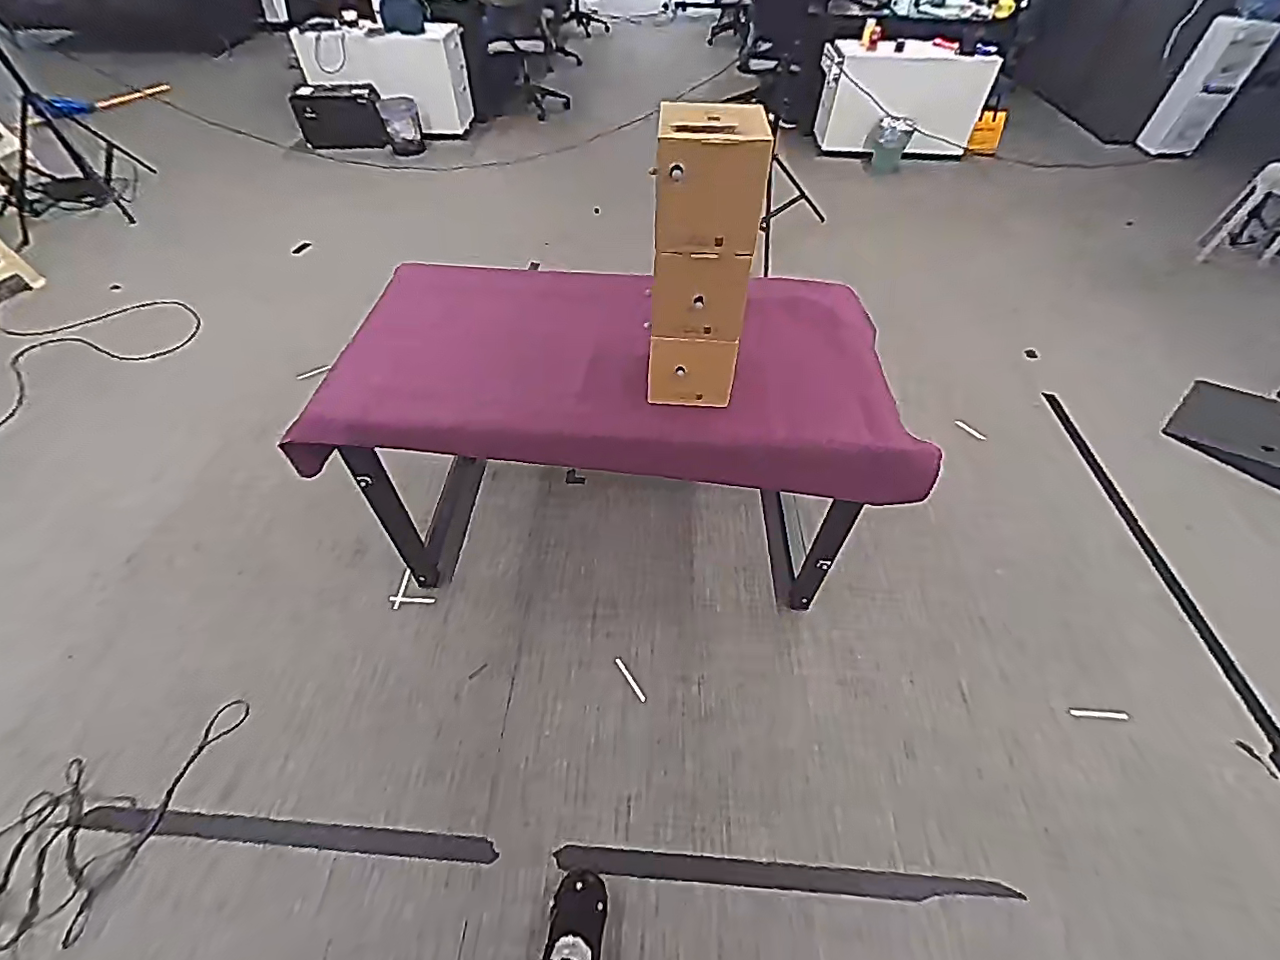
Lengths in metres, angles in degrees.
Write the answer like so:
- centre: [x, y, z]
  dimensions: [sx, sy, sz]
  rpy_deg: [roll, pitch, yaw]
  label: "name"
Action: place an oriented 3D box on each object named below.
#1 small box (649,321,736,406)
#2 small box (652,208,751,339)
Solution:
- centre: [0.105, -0.271, 1.126]
  dimensions: [0.168, 0.176, 0.179]
  rpy_deg: [3, 49, 1]
  label: "small box"
- centre: [0.109, -0.380, 1.003]
  dimensions: [0.168, 0.176, 0.179]
  rpy_deg: [3, 50, 2]
  label: "small box"
